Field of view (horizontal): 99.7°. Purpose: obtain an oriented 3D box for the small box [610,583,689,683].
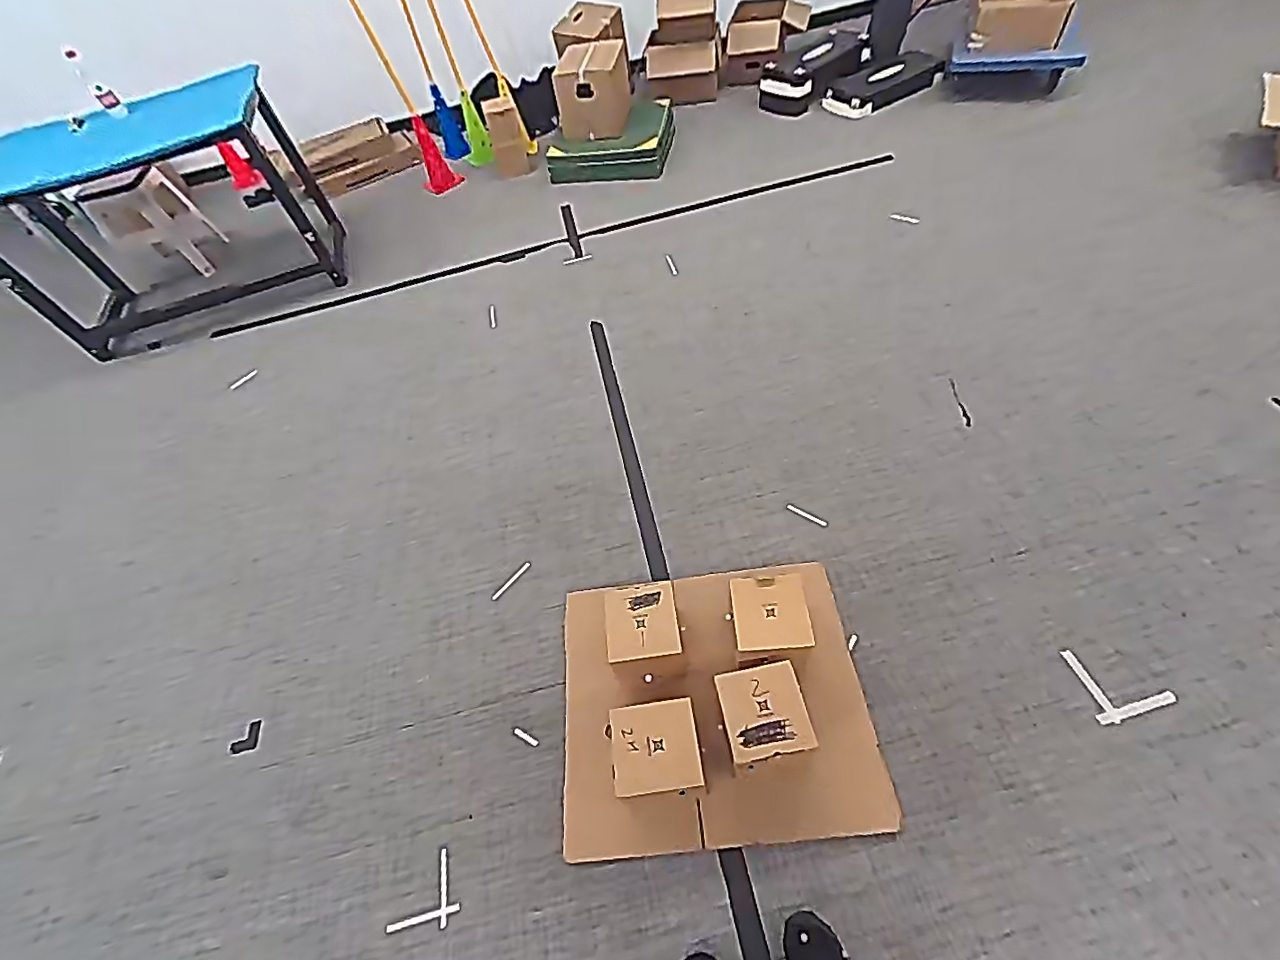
[{"bbox_3d":[0.023,0.374,1.311,0.168,0.176,0.179,-9,54,3],"label":"small box"}]
